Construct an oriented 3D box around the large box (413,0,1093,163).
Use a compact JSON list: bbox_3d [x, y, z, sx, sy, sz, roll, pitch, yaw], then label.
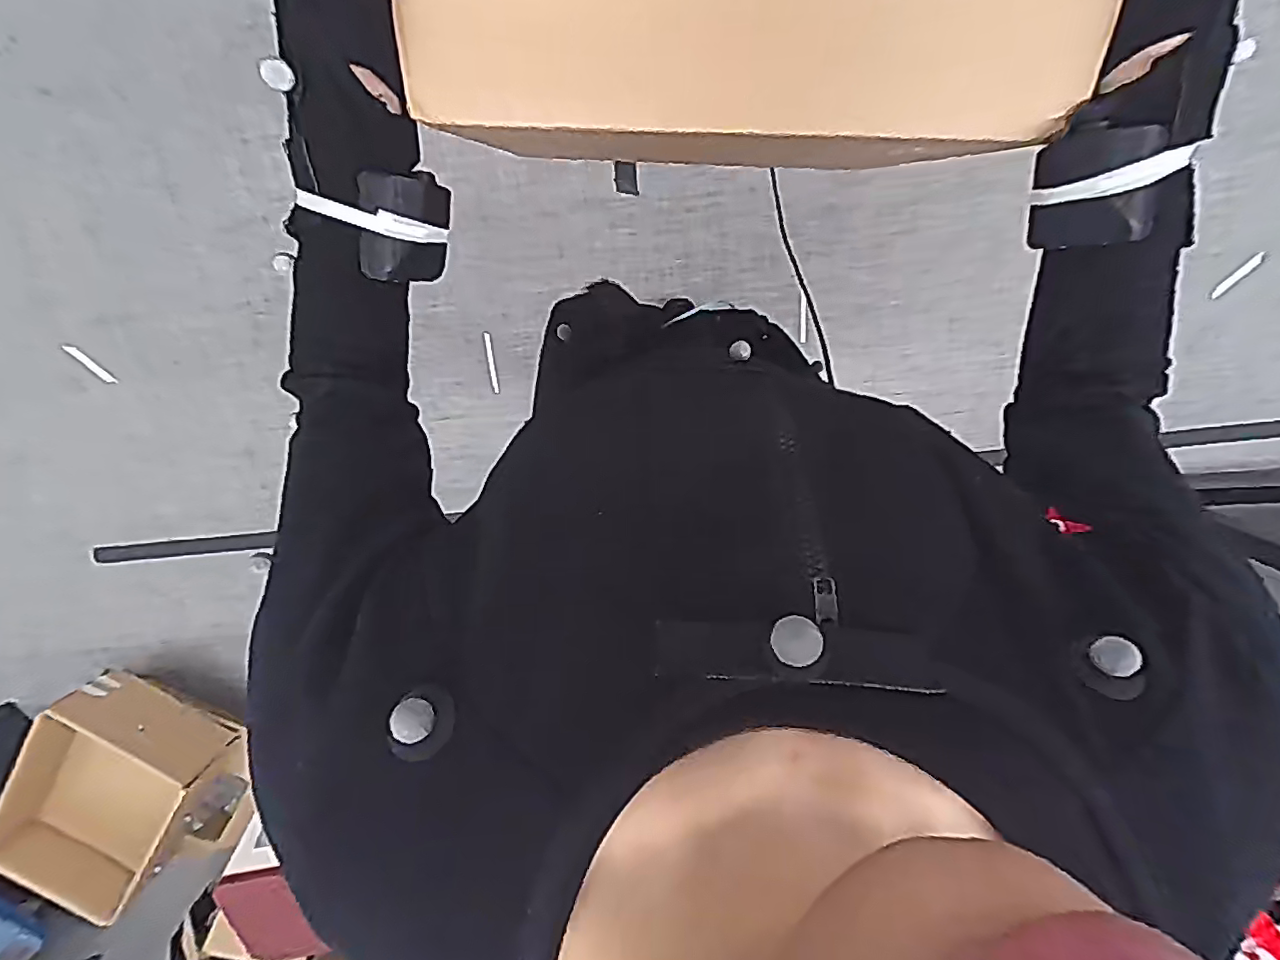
[{"bbox_3d":[0.064,-0.424,0.404,0.408,0.320,0.320,1,119,-1],"label":"large box"}]
